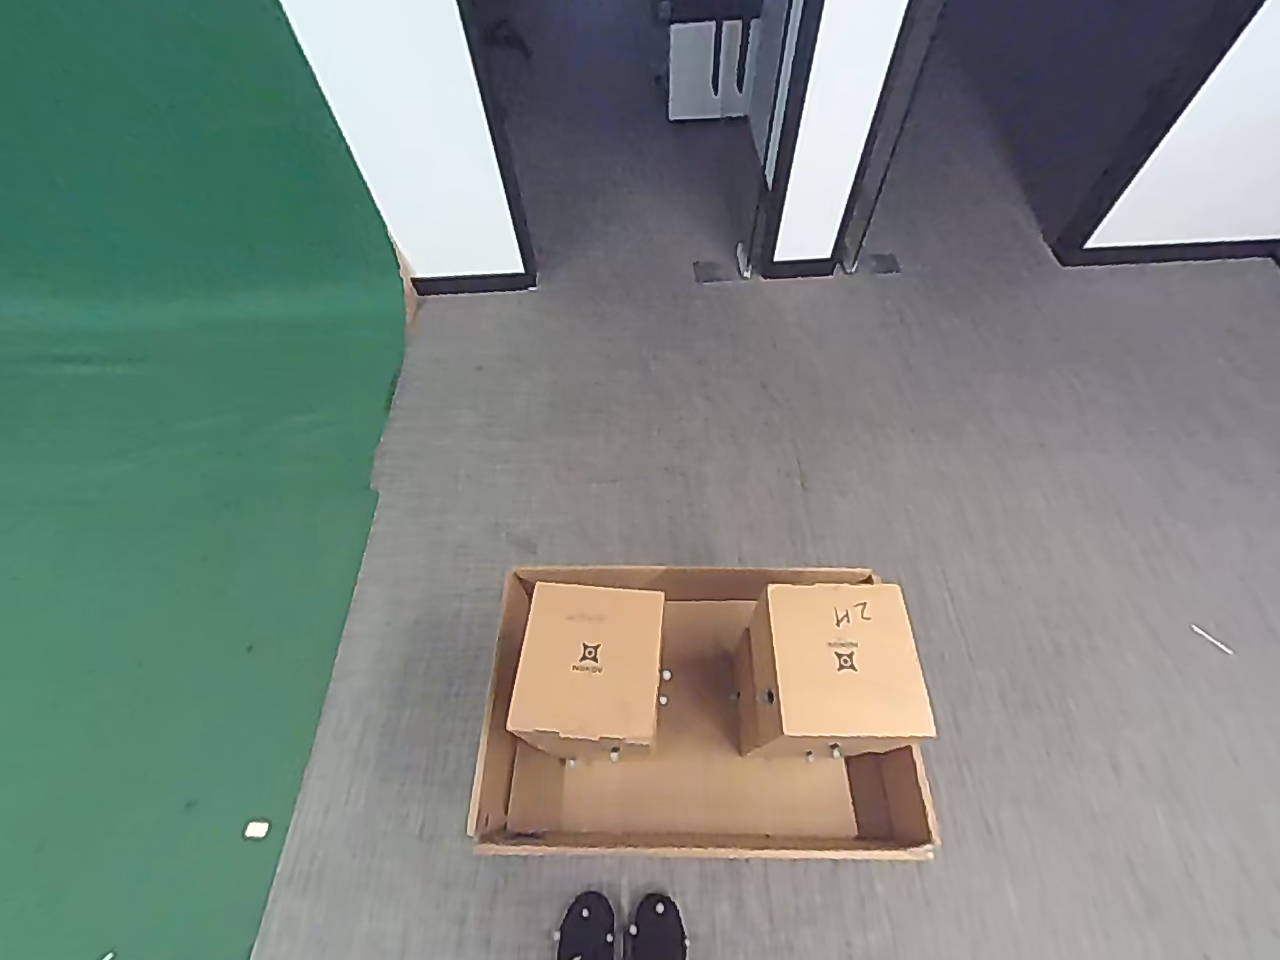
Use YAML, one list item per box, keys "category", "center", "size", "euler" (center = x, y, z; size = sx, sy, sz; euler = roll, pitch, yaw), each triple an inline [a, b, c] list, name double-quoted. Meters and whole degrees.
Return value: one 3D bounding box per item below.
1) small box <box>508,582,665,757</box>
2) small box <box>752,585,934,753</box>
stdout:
- category: "small box"
  center: [-0.056, 0.252, 0.704]
  size: [0.168, 0.176, 0.179]
  euler: [5, 58, 4]
- category: "small box"
  center: [0.240, 0.245, 0.690]
  size: [0.168, 0.176, 0.179]
  euler: [0, 58, 3]
